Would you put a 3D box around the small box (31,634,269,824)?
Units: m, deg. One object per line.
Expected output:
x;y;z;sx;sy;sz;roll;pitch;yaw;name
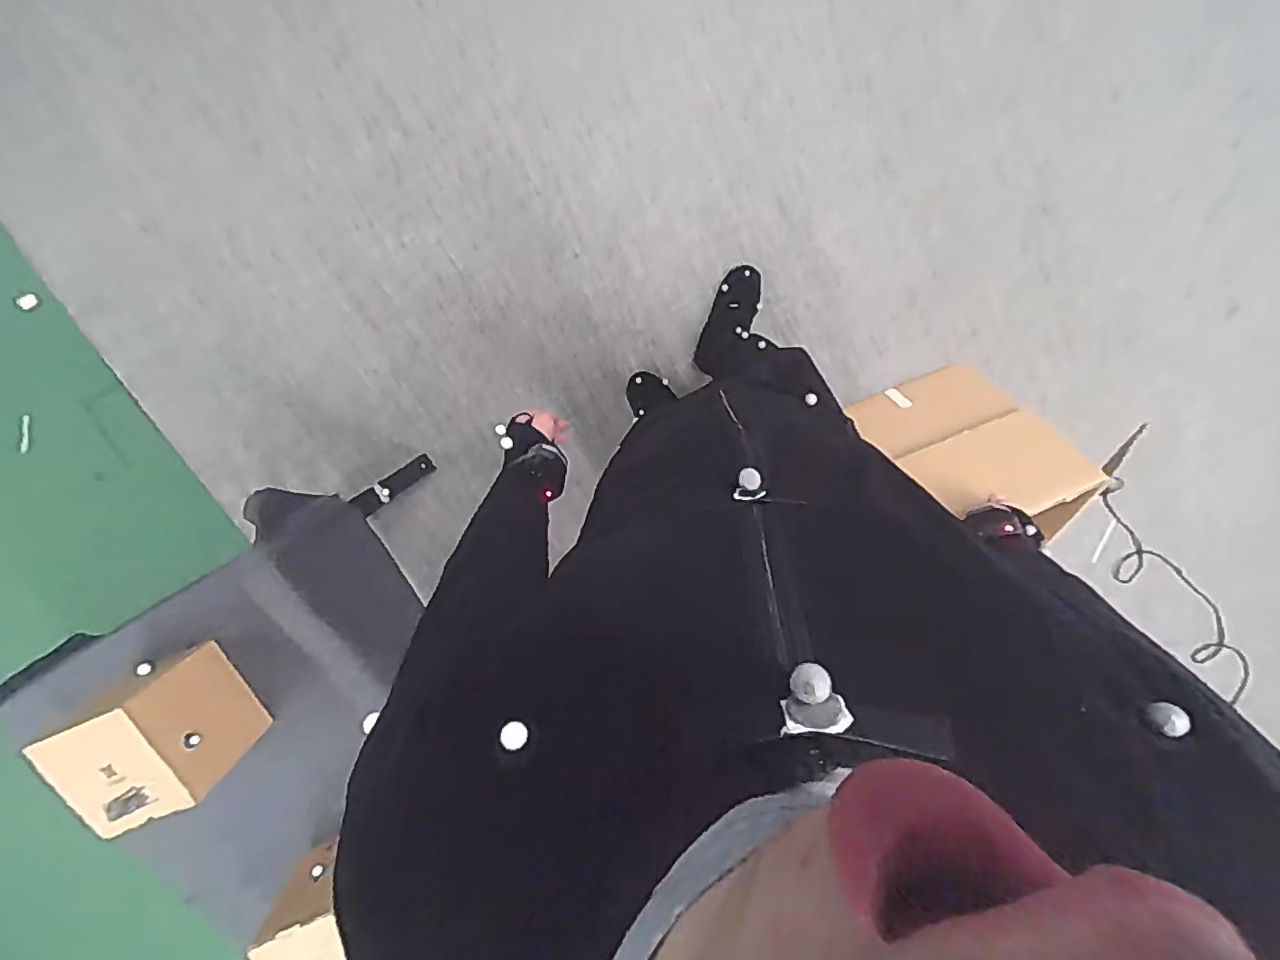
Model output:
-0.727;0.372;0.829;0.168;0.176;0.179;-23;105;6;small box

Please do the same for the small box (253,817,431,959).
-0.499;0.723;0.934;0.168;0.176;0.179;-27;104;8;small box
